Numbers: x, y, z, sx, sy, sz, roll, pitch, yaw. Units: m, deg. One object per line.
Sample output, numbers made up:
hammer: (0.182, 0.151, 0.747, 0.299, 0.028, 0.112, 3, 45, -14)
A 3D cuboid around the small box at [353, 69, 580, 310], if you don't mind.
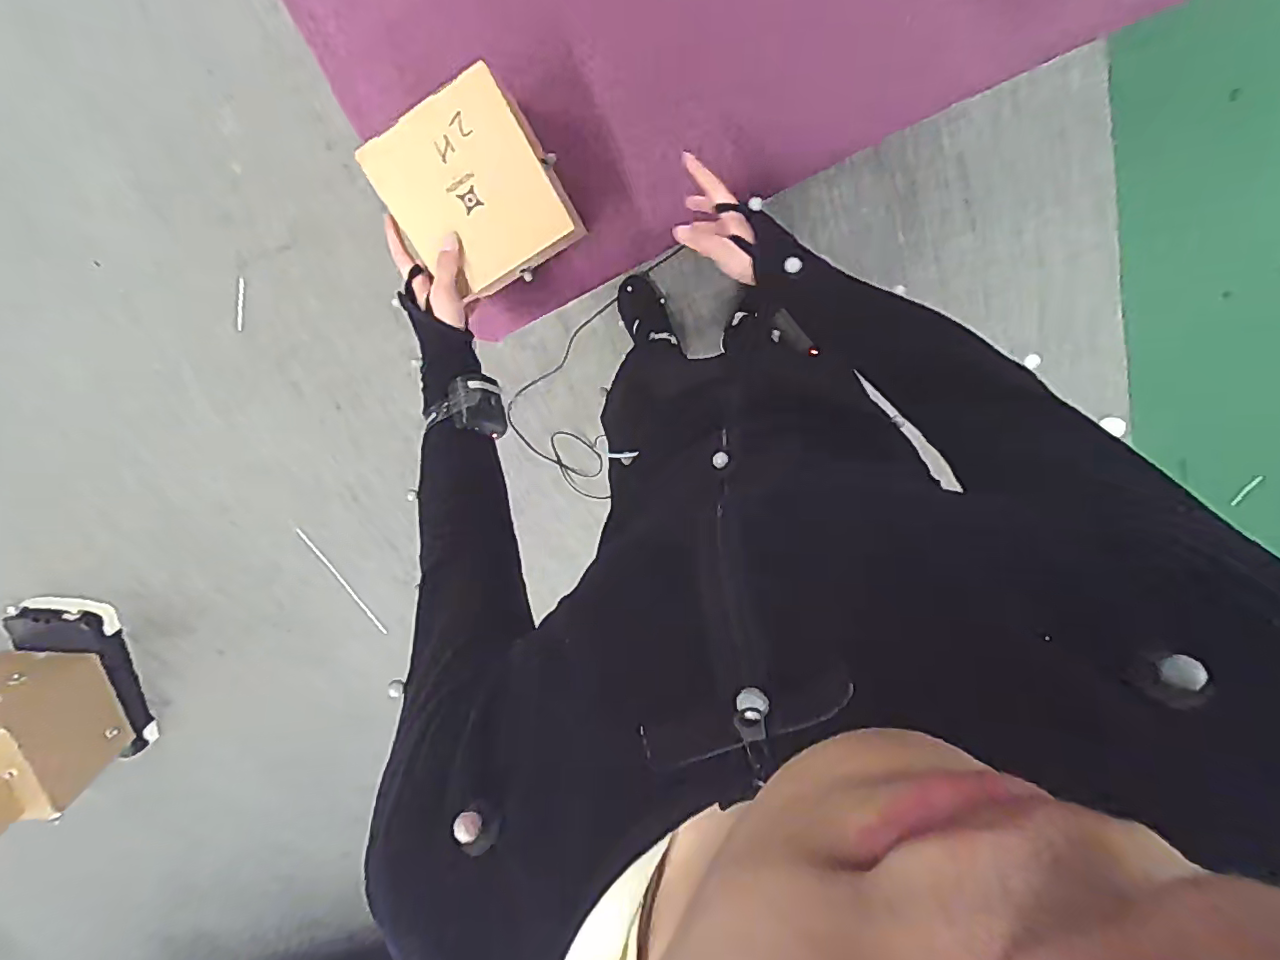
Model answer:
small box: (-0.184, -0.327, 0.639, 0.168, 0.176, 0.179, -27, 111, 10)
